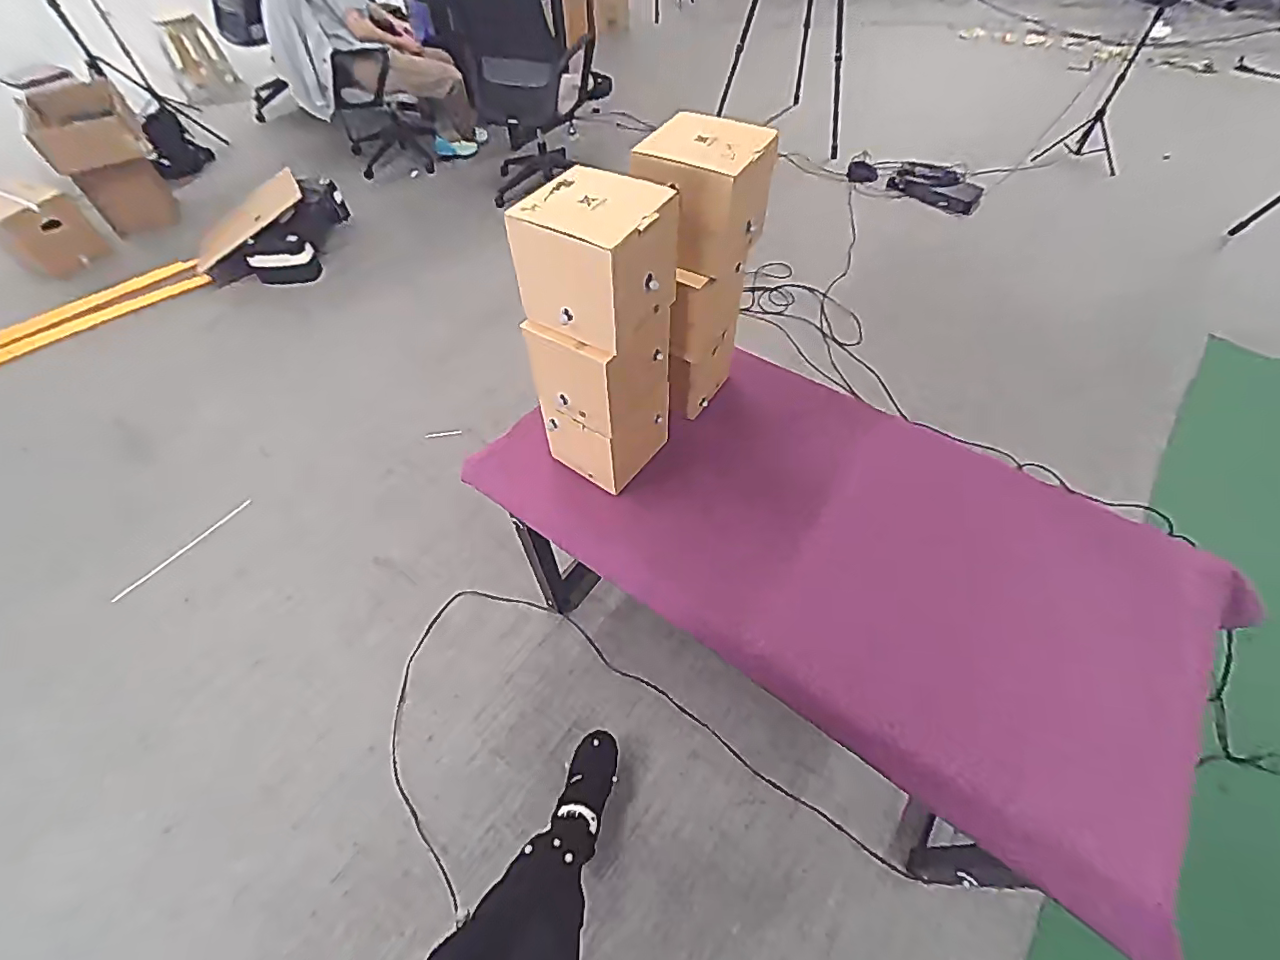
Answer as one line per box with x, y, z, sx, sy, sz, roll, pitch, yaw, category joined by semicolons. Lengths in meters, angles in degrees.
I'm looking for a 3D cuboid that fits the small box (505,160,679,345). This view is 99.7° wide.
-0.061;-0.322;0.781;0.179;0.176;0.168;27;58;19;small box

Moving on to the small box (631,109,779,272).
0.101;-0.468;0.882;0.179;0.176;0.168;25;59;18;small box

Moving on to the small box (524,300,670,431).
-0.067;-0.218;0.907;0.168;0.176;0.179;29;60;20;small box
